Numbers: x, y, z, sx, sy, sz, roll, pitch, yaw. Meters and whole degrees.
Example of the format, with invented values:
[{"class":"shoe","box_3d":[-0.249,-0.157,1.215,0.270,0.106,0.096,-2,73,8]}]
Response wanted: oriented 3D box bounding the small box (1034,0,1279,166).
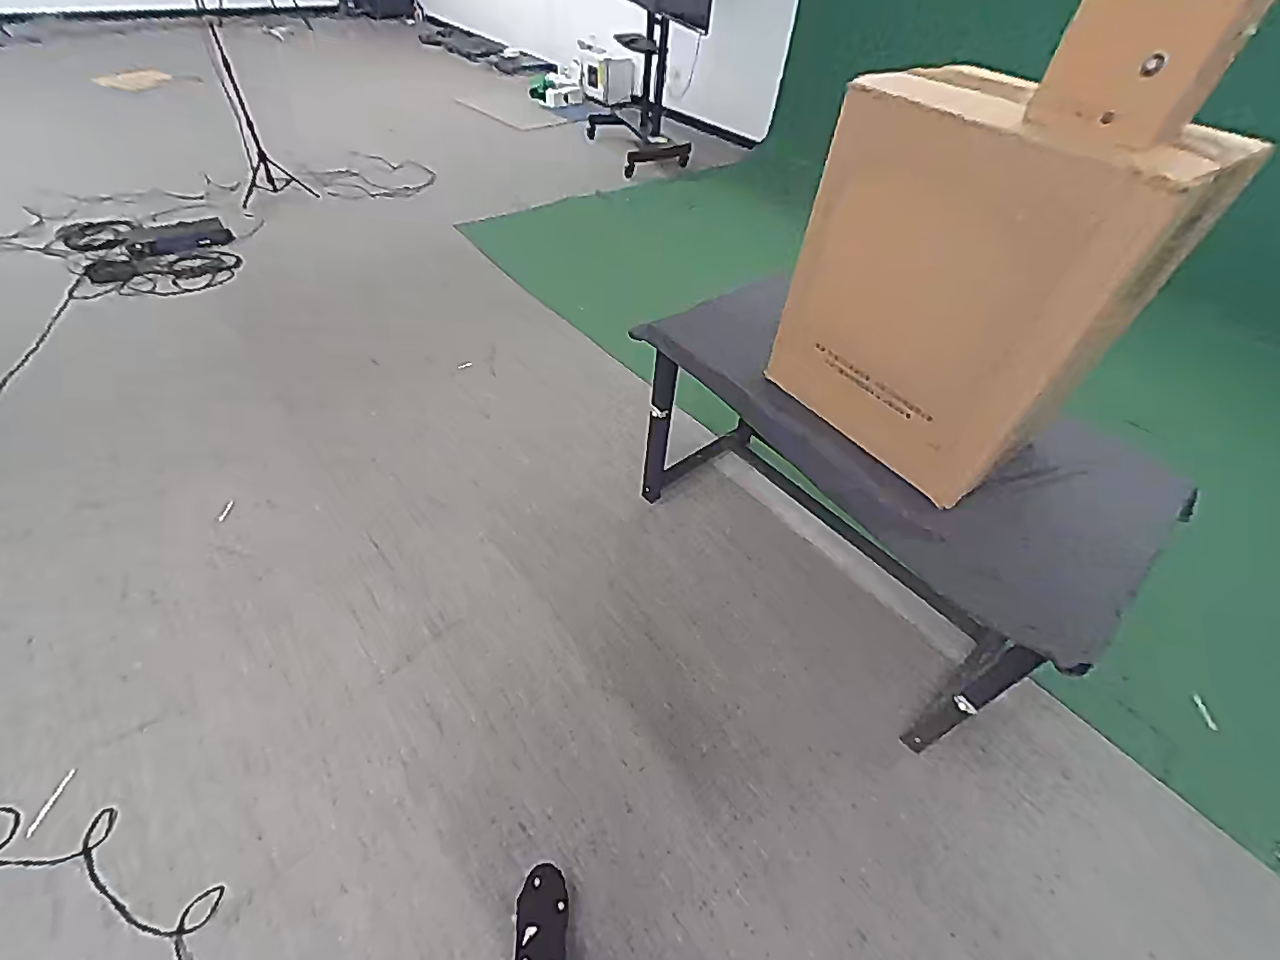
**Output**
[{"class":"small box","box_3d":[0.697,-0.557,0.749,0.179,0.176,0.168,-31,60,-29]}]
